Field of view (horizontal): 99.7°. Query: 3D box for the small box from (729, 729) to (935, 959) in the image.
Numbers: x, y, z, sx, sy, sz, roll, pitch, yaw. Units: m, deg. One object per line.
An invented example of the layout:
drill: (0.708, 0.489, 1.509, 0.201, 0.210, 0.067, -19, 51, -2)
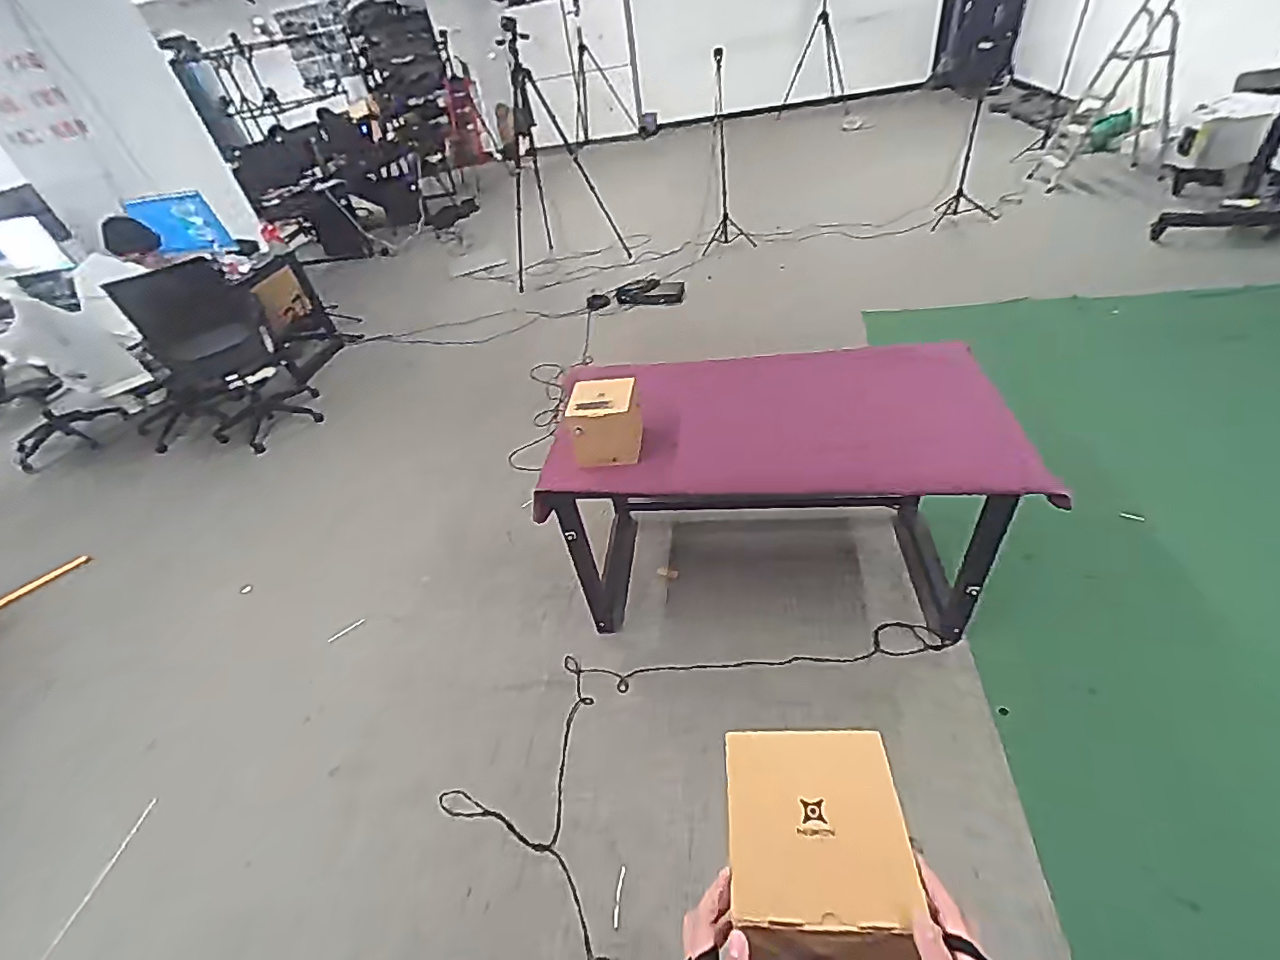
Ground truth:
small box: (0.182, 0.389, 0.568, 0.168, 0.176, 0.179, -5, 36, 10)
